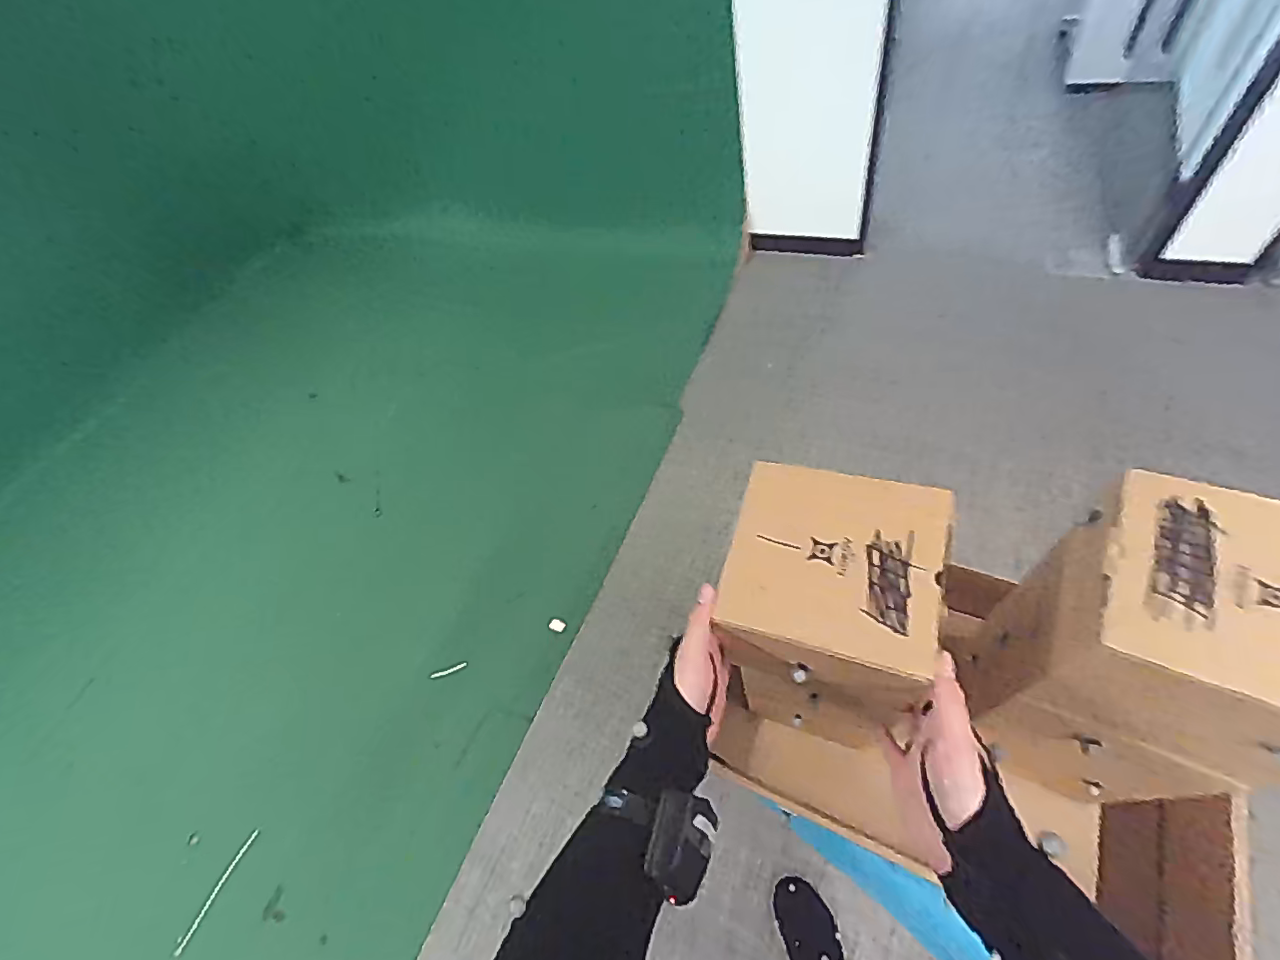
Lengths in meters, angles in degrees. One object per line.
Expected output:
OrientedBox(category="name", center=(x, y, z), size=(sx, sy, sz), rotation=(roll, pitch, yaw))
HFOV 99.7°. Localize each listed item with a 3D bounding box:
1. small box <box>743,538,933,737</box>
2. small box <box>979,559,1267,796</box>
OrientedBox(category="small box", center=(0.235, 0.197, 0.663), size=(0.179, 0.176, 0.168), rotation=(13, 62, 20))
OrientedBox(category="small box", center=(0.496, 0.216, 0.580), size=(0.179, 0.176, 0.168), rotation=(20, 66, 25))
